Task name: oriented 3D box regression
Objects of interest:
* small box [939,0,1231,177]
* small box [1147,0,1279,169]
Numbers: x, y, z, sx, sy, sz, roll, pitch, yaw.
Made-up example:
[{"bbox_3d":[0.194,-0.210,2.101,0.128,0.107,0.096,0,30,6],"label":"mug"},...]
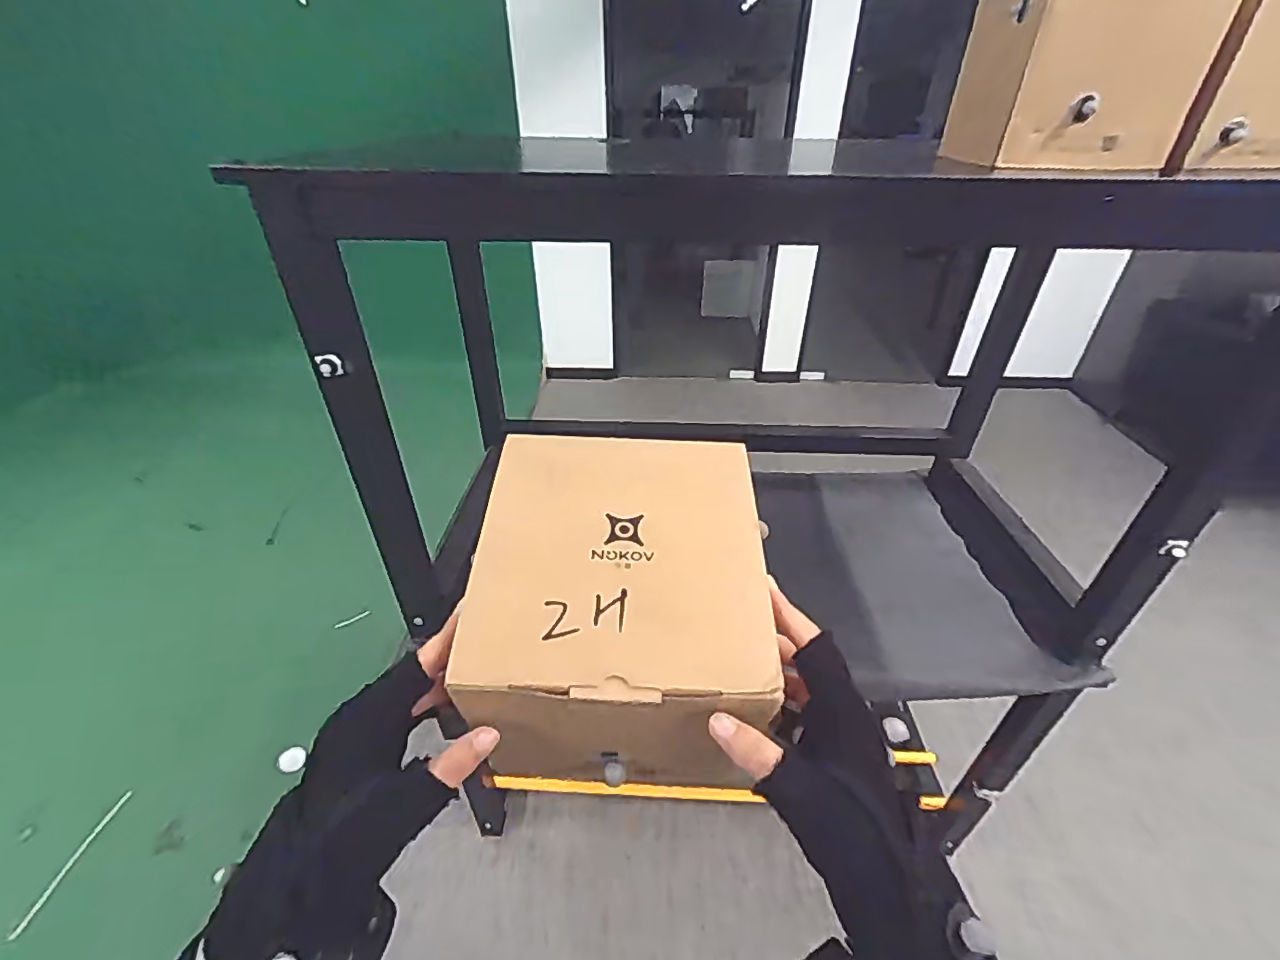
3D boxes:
[{"bbox_3d":[0.459,-0.439,0.592,0.168,0.176,0.179,4,35,5],"label":"small box"},{"bbox_3d":[0.641,-0.435,0.582,0.168,0.176,0.179,3,33,4],"label":"small box"}]
